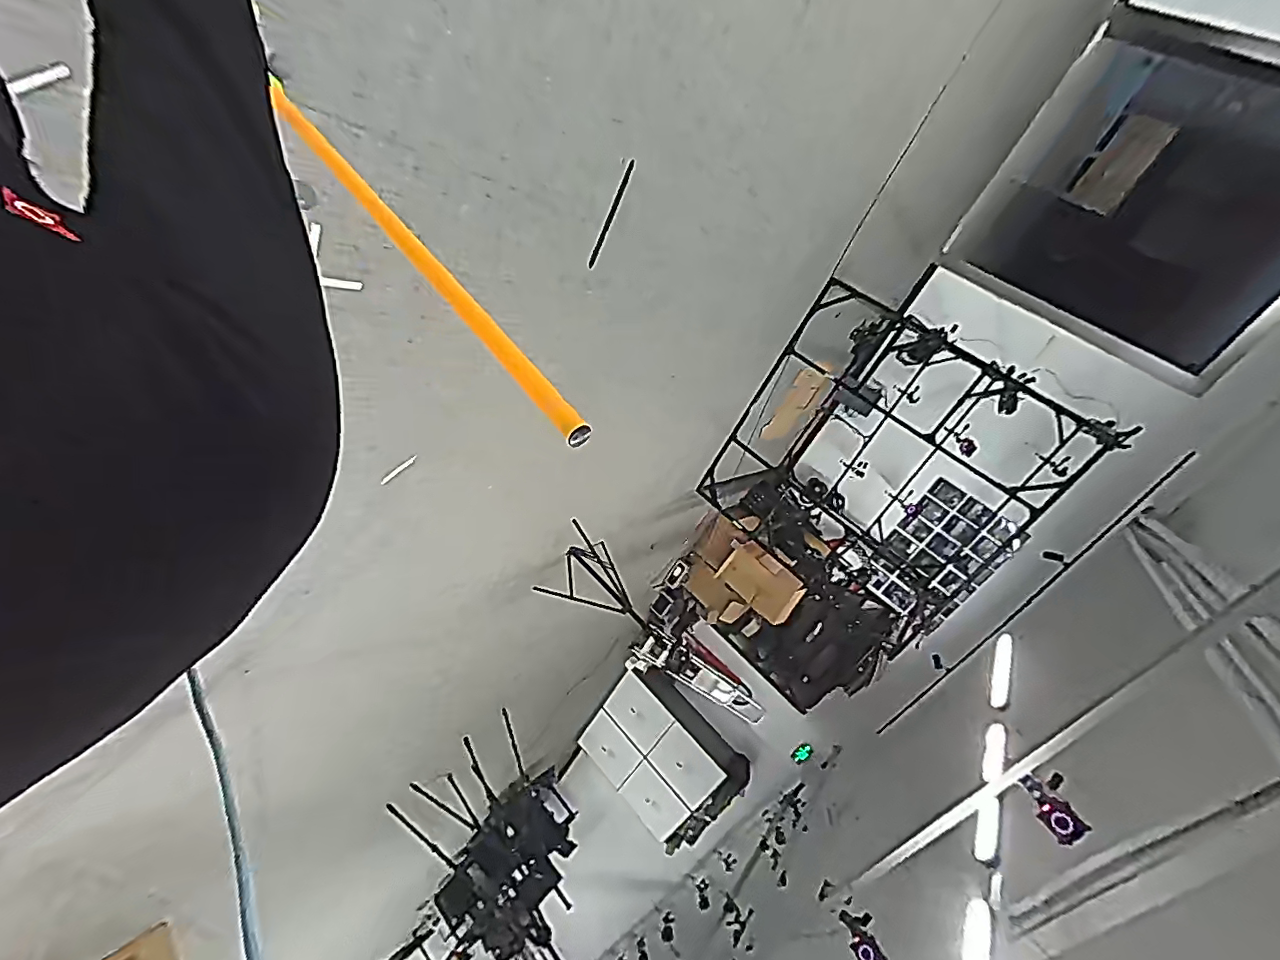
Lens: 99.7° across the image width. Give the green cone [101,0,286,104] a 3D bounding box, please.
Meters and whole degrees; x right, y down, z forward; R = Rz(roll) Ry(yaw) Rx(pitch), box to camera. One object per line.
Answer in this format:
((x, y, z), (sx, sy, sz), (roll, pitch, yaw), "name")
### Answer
((-0.707, -0.717, 0.910), (0.202, 0.368, 0.200), (-9, 136, -58), "green cone")
